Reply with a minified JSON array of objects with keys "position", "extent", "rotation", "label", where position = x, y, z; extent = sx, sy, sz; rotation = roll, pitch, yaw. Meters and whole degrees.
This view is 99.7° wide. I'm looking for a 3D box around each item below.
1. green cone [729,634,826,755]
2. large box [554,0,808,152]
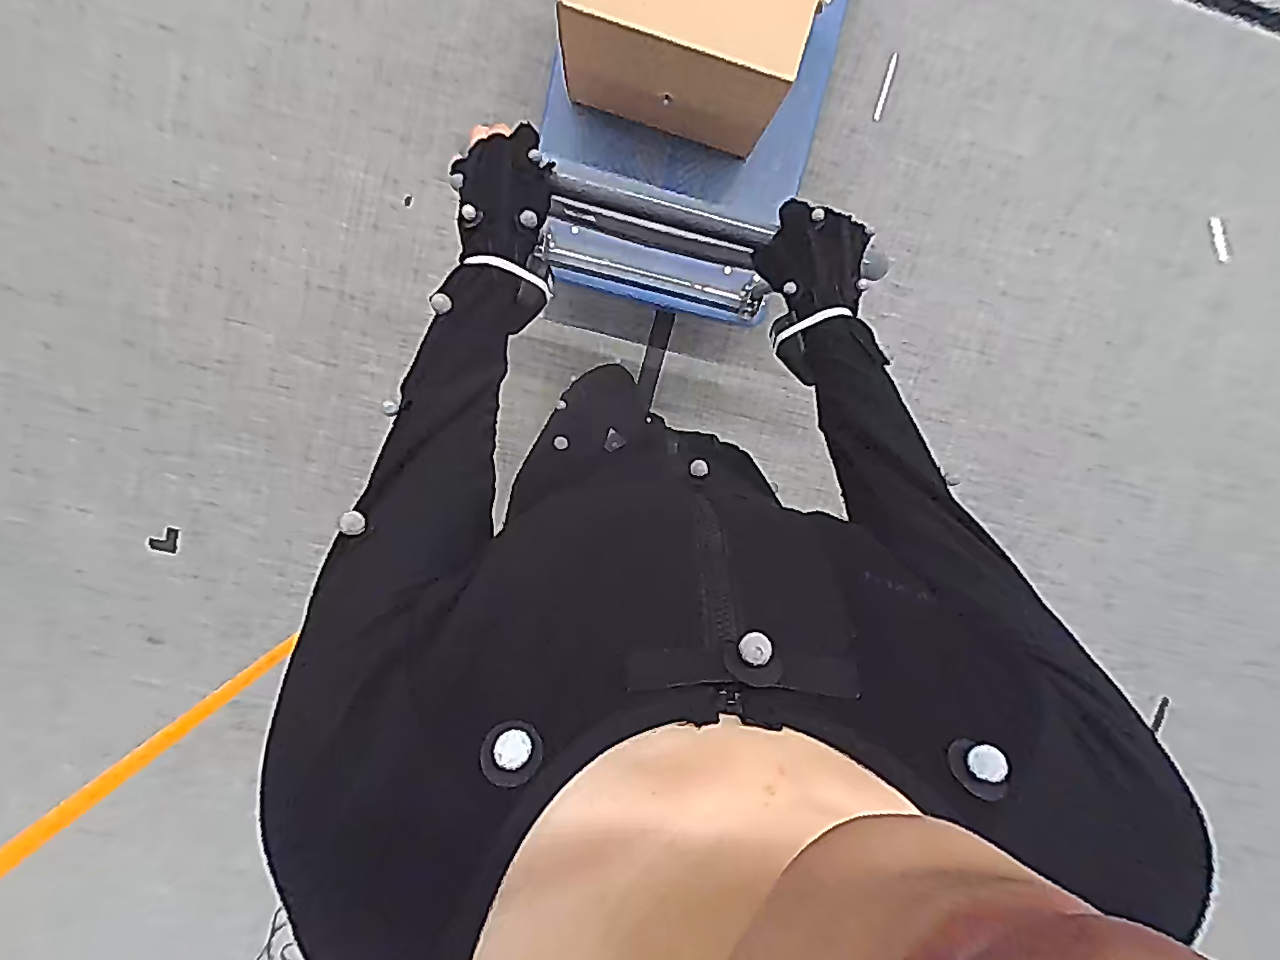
[{"position":[0.392,0.592,1.427],"extent":[0.202,0.368,0.200],"rotation":[18,98,-7],"label":"green cone"},{"position":[0.084,-0.878,1.006],"extent":[0.408,0.320,0.320],"rotation":[14,99,-5],"label":"large box"}]
